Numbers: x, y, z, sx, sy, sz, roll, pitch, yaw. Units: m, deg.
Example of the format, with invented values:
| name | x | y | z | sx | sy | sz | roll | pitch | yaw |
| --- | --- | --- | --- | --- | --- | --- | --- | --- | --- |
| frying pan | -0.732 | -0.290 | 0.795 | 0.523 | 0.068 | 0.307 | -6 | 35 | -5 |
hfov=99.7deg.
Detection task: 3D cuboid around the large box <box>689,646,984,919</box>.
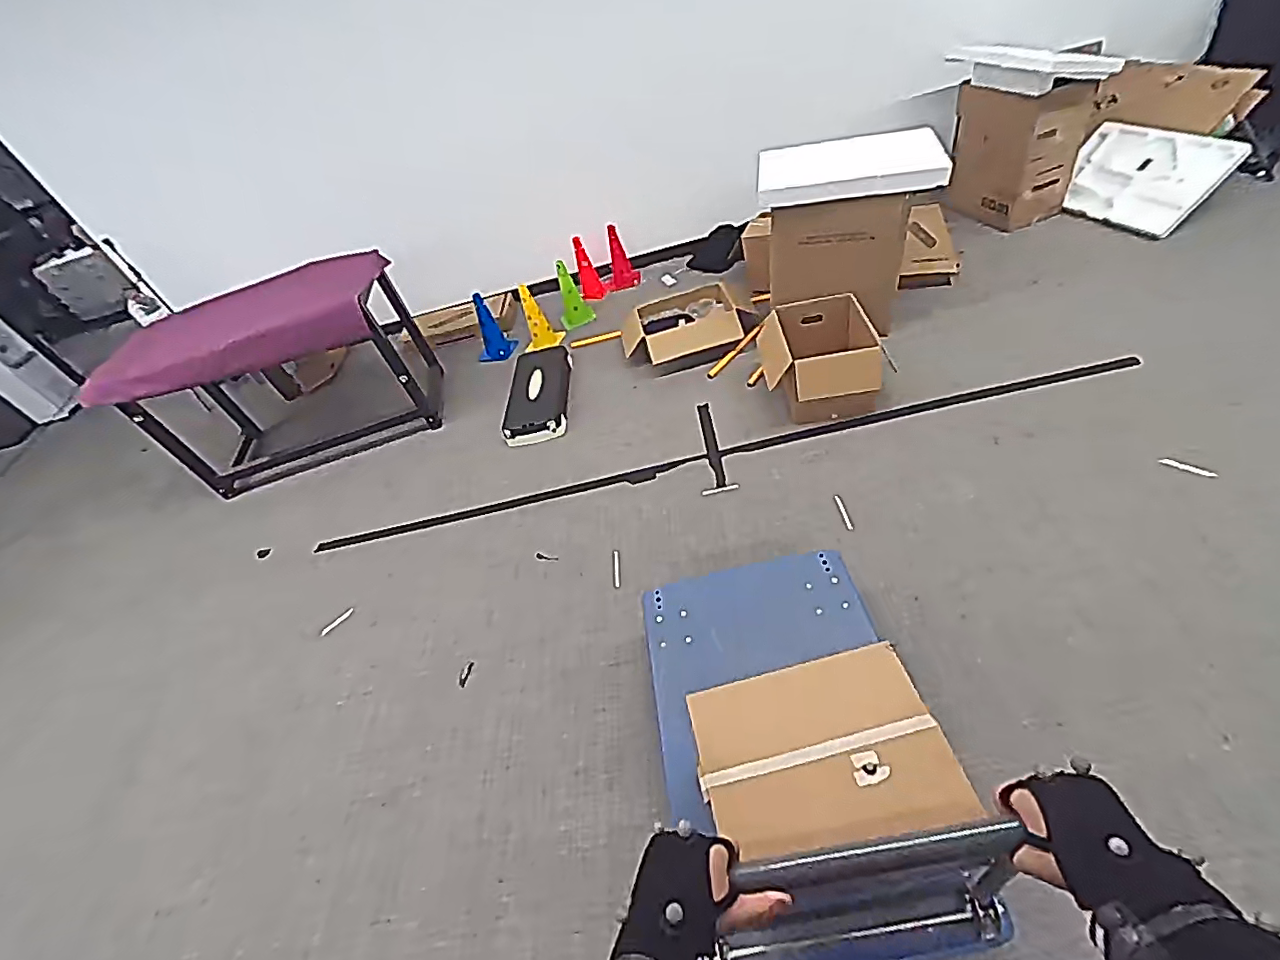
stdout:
| name | x | y | z | sx | sy | sz | roll | pitch | yaw |
| --- | --- | --- | --- | --- | --- | --- | --- | --- | --- |
| large box | 0.339 | 0.578 | 1.031 | 0.408 | 0.320 | 0.320 | -15 | 44 | 1 |
